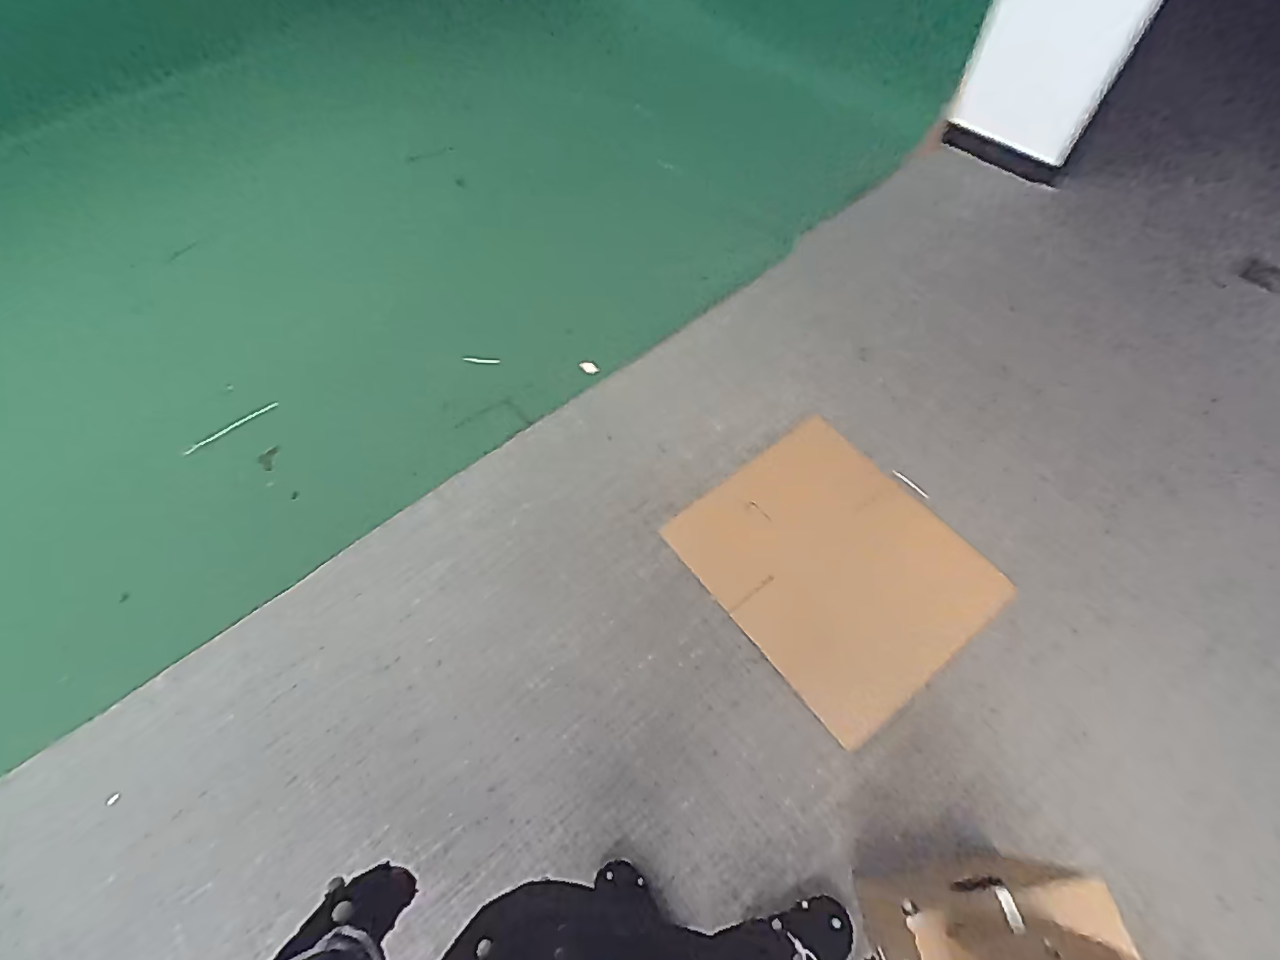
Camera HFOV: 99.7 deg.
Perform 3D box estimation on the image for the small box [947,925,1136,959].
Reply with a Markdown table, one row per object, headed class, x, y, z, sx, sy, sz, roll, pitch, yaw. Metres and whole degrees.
| class | x | y | z | sx | sy | sz | roll | pitch | yaw |
| --- | --- | --- | --- | --- | --- | --- | --- | --- | --- |
| small box | 0.541 | 0.705 | 0.701 | 0.179 | 0.176 | 0.168 | -9 | 60 | 3 |
